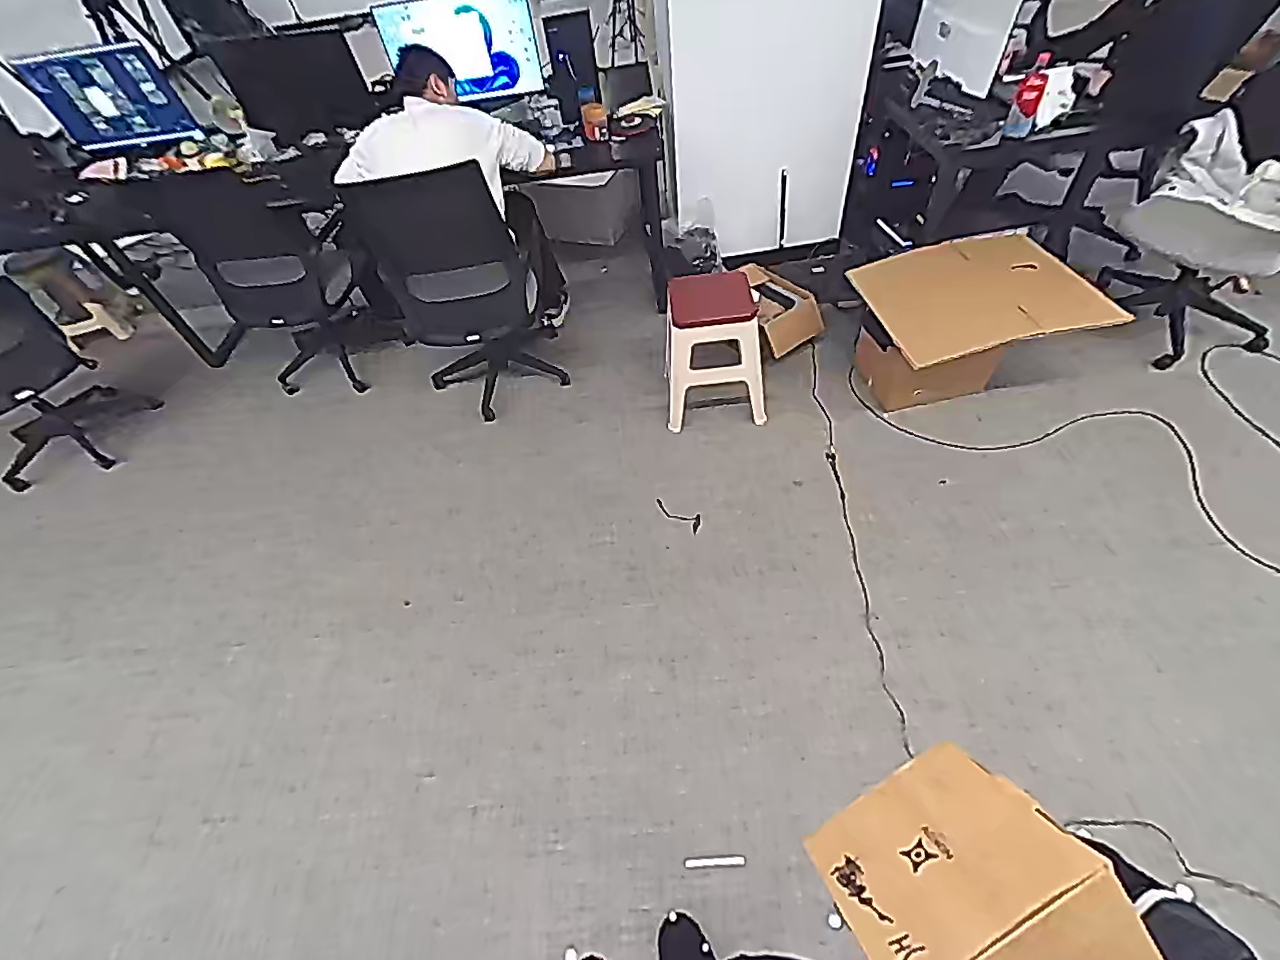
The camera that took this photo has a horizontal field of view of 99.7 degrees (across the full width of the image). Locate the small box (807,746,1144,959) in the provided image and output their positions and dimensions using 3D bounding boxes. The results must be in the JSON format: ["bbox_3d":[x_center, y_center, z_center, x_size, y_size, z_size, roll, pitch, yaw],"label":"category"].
[{"bbox_3d":[0.284,0.380,0.461,0.179,0.168,0.176,-32,94,-4],"label":"small box"}]
